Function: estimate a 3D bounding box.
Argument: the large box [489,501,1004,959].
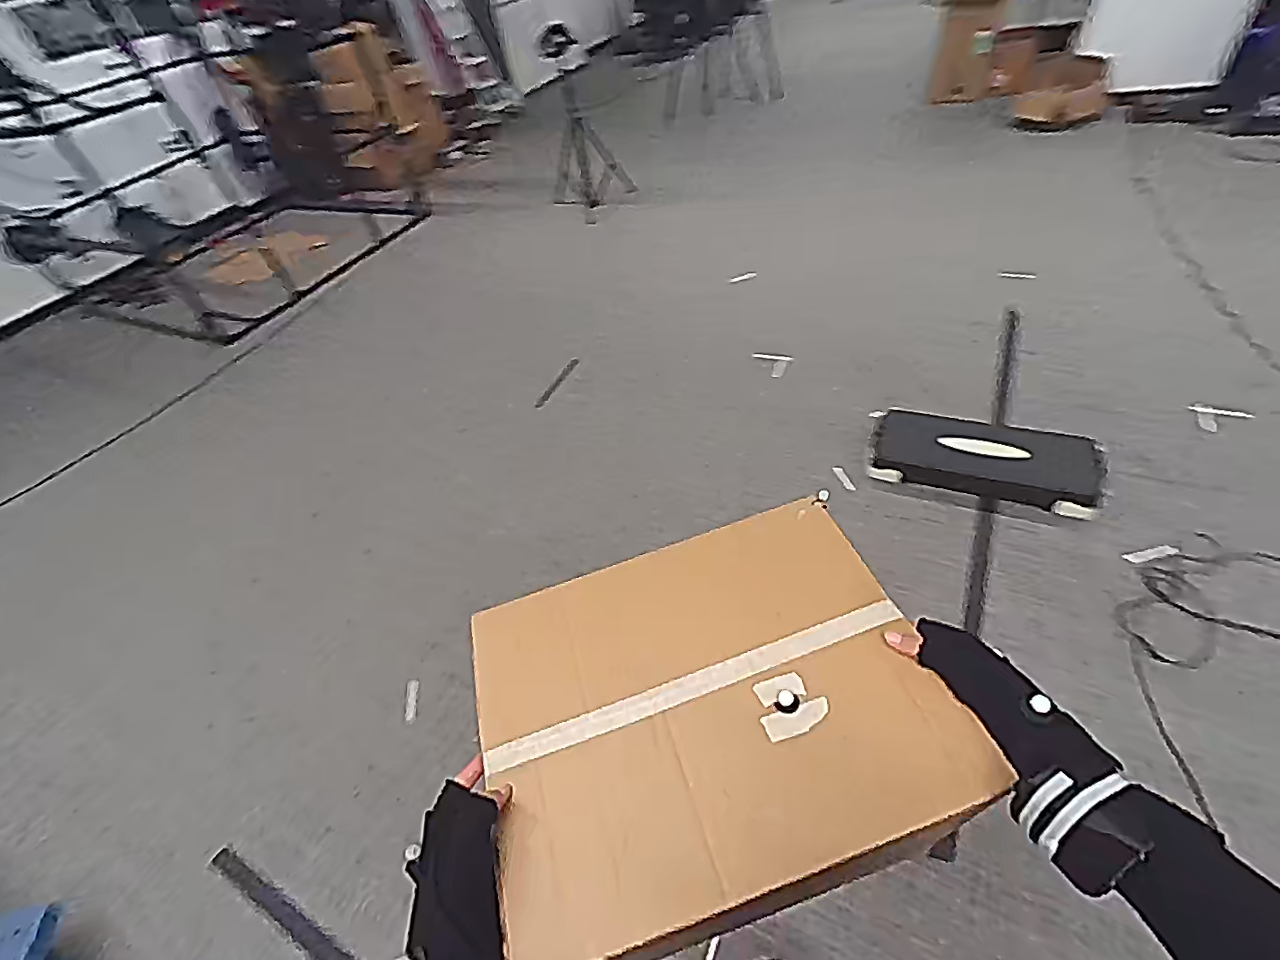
[{"bbox_3d":[0.084,0.289,0.617,0.408,0.320,0.320,-18,48,-4],"label":"large box"}]
